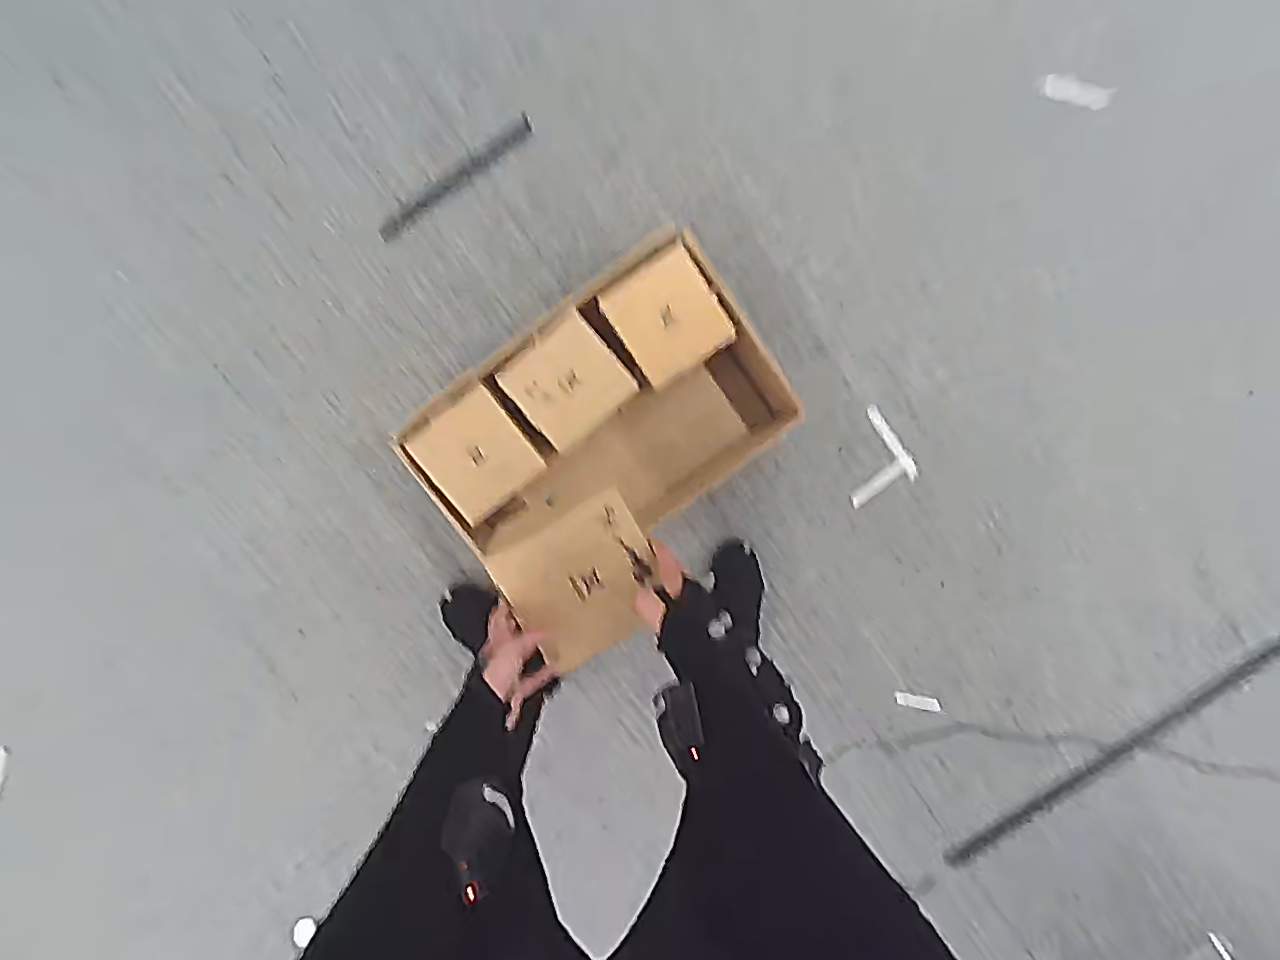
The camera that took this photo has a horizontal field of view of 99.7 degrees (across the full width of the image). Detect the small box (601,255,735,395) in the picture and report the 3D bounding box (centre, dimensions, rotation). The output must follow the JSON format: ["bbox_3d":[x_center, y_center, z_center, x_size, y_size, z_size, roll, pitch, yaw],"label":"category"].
[{"bbox_3d":[0.042,-0.266,0.977,0.168,0.176,0.179,-35,99,2],"label":"small box"}]

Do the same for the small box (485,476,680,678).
[{"bbox_3d":[-0.071,0.112,0.700,0.179,0.176,0.168,-29,101,-2],"label":"small box"}]
